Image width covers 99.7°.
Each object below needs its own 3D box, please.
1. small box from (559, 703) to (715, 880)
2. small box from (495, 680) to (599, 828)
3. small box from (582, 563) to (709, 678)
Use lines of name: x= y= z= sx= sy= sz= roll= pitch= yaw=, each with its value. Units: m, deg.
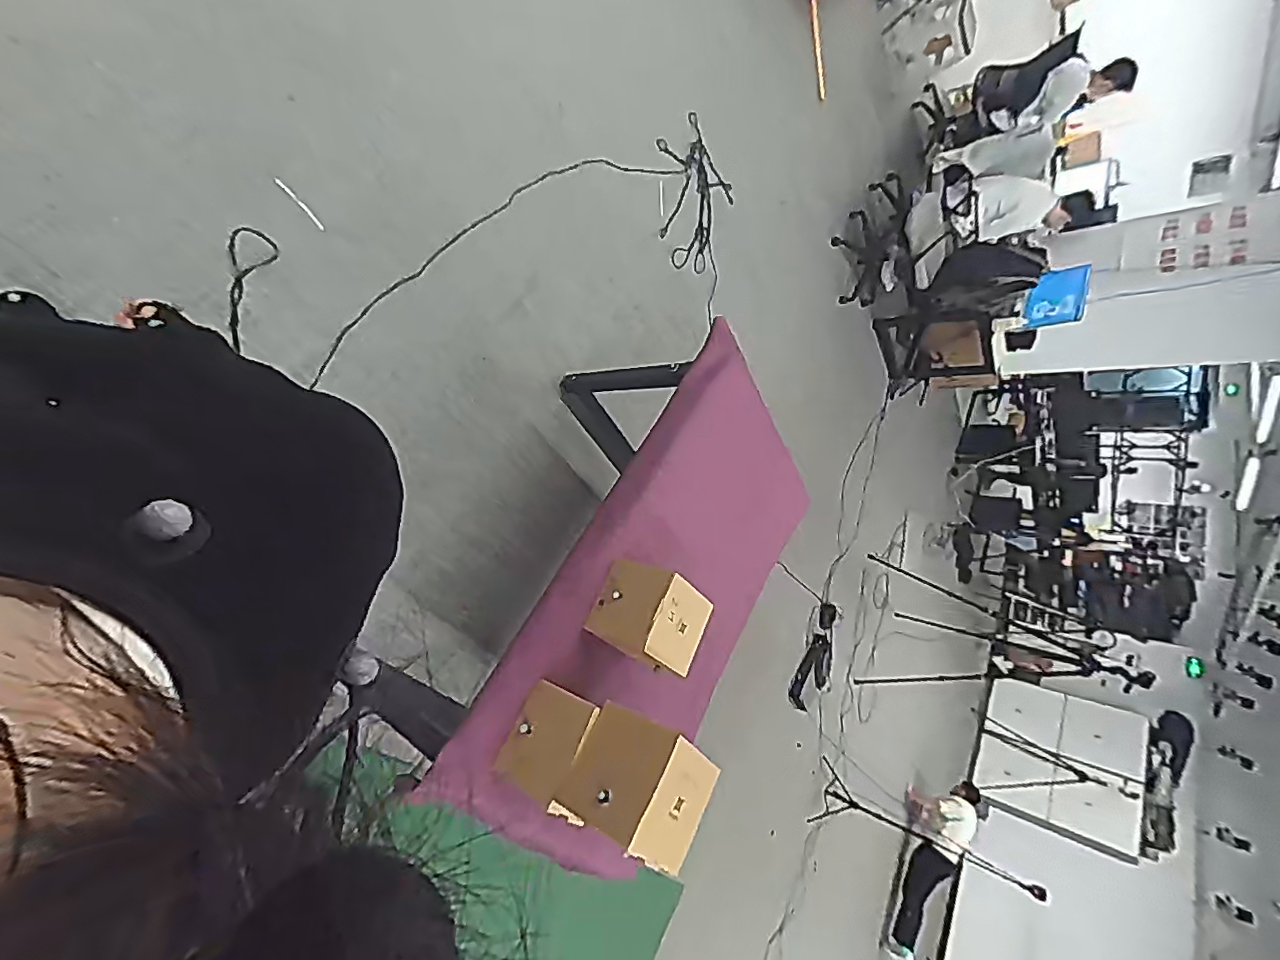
small box: x=-0.009 y=0.508 z=0.898 sx=0.179 sy=0.176 sz=0.168 roll=-57 pitch=131 yaw=-28
small box: x=-0.139 y=0.500 z=0.998 sx=0.168 sy=0.176 sz=0.179 roll=49 pitch=60 yaw=-39
small box: x=0.013 y=0.290 z=1.142 sx=0.179 sy=0.176 sz=0.168 roll=46 pitch=60 yaw=-41
